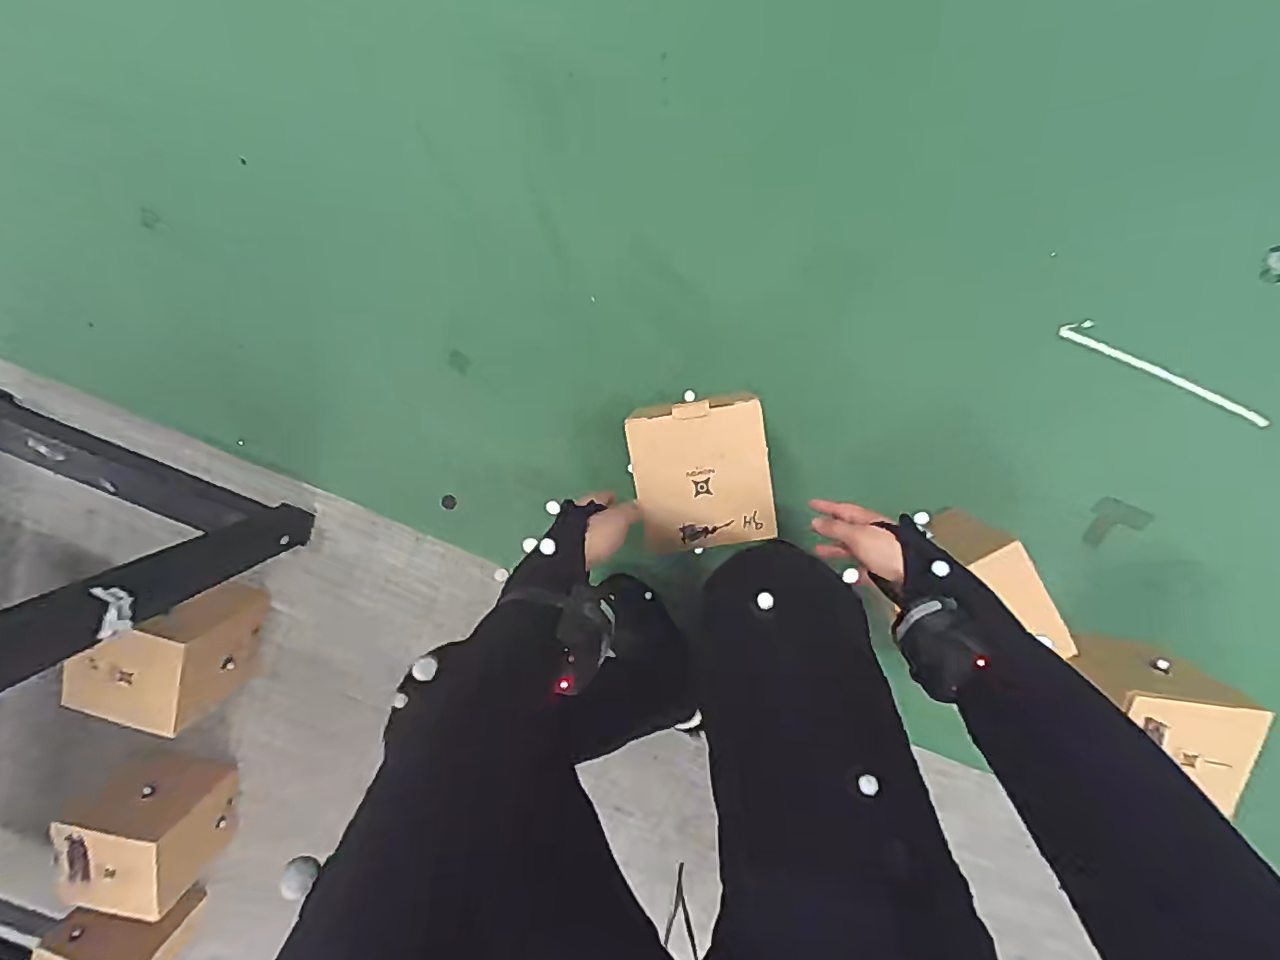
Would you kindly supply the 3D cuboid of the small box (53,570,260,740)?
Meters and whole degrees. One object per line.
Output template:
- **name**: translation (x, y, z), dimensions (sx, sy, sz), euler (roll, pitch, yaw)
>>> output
- **small box**: translation (-0.740, 0.261, 0.844), dimensions (0.179, 0.176, 0.168), euler (18, 103, 0)

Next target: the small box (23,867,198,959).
- **small box**: translation (-0.983, 0.875, 1.007), dimensions (0.179, 0.176, 0.168), euler (27, 104, -2)

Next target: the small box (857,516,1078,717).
- **small box**: translation (0.431, 0.175, 0.741), dimensions (0.168, 0.176, 0.179), euler (-32, 98, 9)

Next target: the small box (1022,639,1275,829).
- **small box**: translation (0.688, 0.343, 0.761), dimensions (0.179, 0.176, 0.168), euler (7, 103, 2)

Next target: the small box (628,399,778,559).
- **small box**: translation (0.081, -0.011, 0.725), dimensions (0.168, 0.176, 0.179), euler (-8, 102, 6)
